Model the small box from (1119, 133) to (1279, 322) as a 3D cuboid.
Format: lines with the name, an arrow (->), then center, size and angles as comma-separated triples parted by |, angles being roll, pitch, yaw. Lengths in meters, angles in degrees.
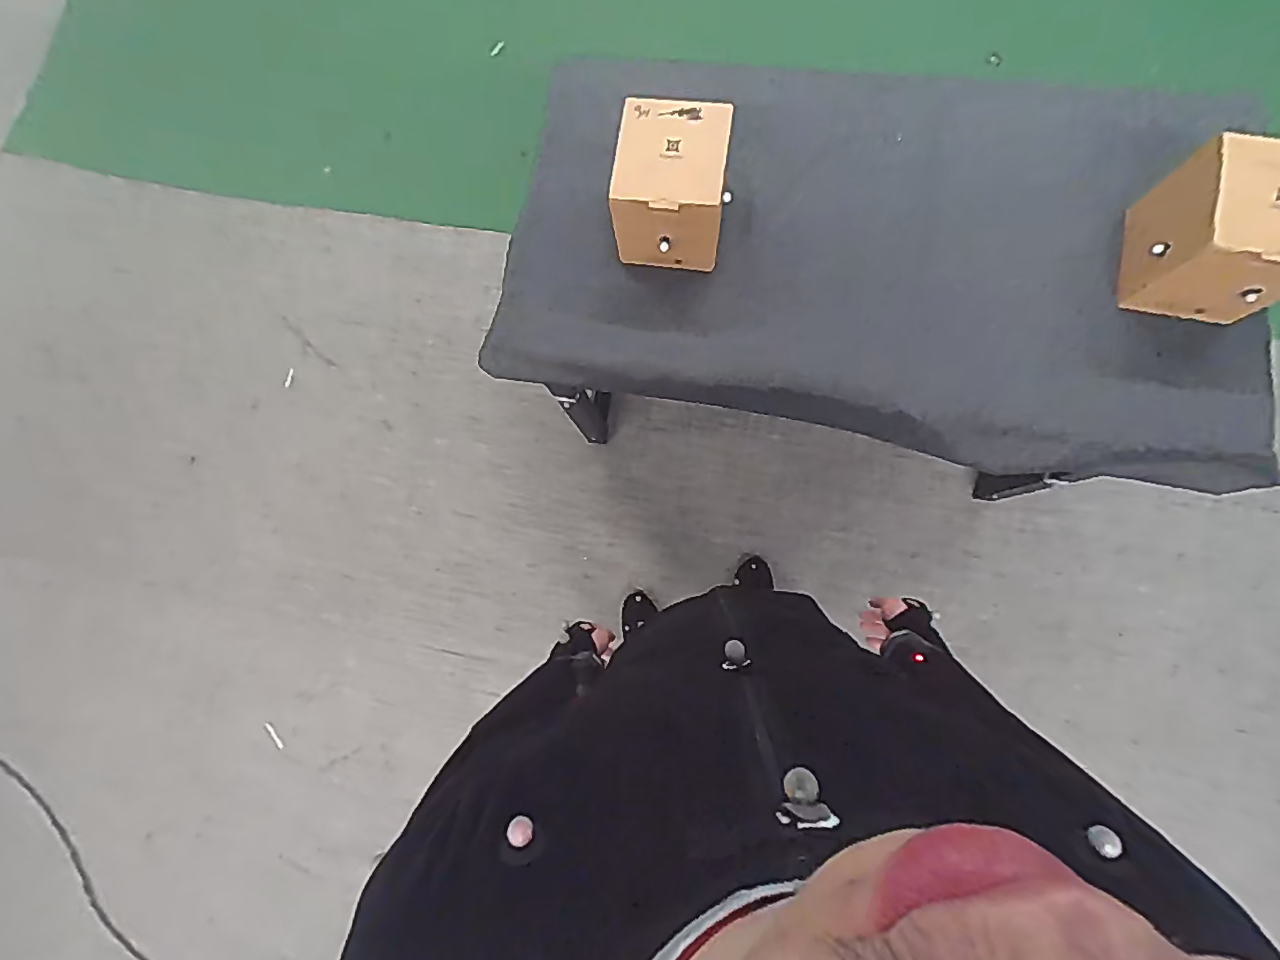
small box -> 0.849, -0.353, 0.784 | 0.168, 0.176, 0.179 | 12, 80, 6

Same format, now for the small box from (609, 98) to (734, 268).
small box -> 0.054, -0.468, 0.874 | 0.168, 0.176, 0.179 | 8, 81, 5
